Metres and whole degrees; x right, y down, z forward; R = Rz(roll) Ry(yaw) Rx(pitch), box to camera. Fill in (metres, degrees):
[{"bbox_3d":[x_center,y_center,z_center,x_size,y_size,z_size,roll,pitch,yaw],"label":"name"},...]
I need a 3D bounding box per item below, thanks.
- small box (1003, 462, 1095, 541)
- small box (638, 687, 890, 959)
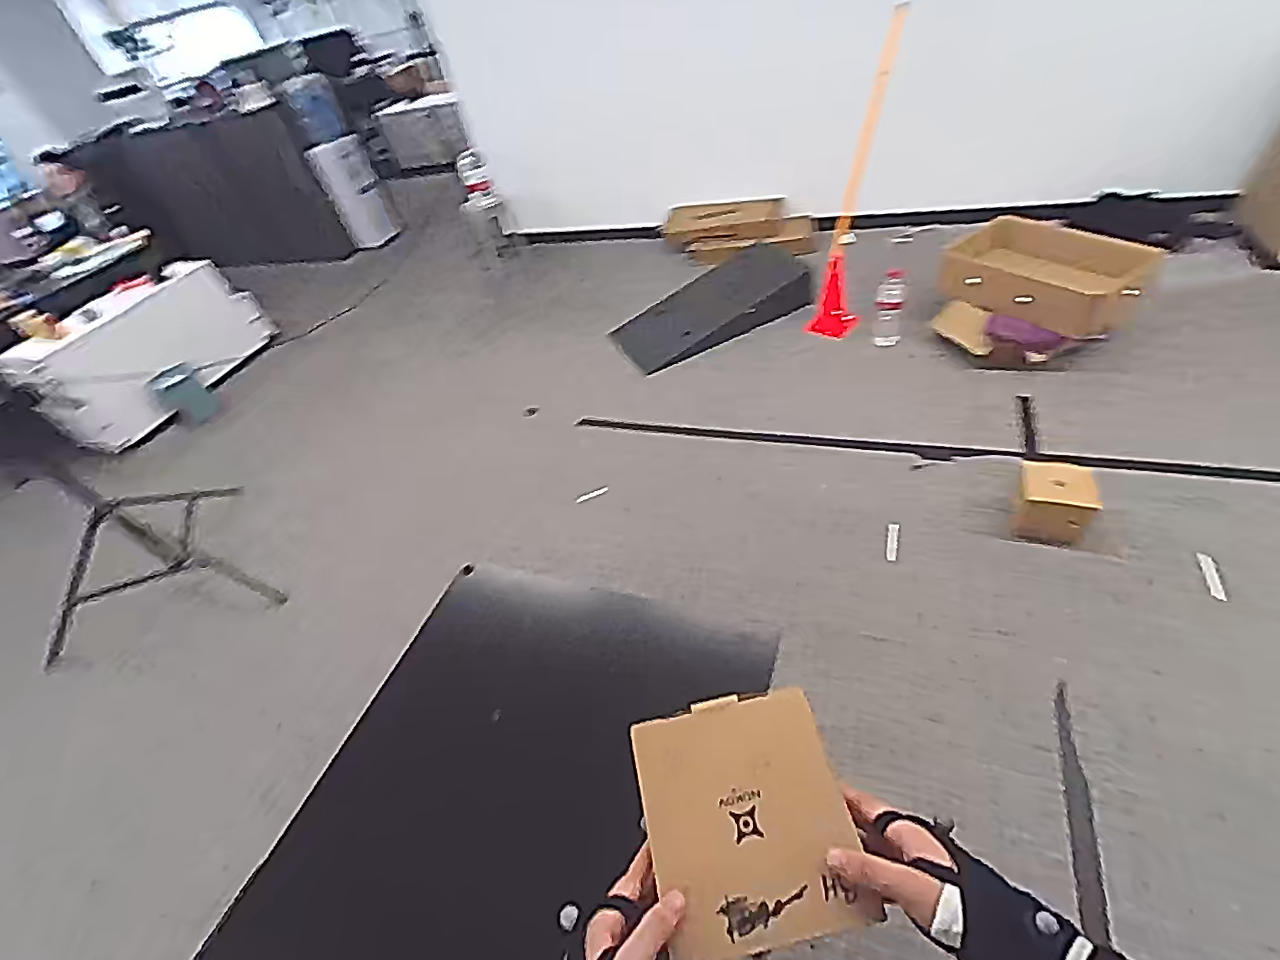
[{"bbox_3d":[1.231,0.068,1.641,0.179,0.176,0.168,6,47,22],"label":"small box"},{"bbox_3d":[0.102,0.324,0.509,0.168,0.176,0.179,-14,51,1],"label":"small box"}]
